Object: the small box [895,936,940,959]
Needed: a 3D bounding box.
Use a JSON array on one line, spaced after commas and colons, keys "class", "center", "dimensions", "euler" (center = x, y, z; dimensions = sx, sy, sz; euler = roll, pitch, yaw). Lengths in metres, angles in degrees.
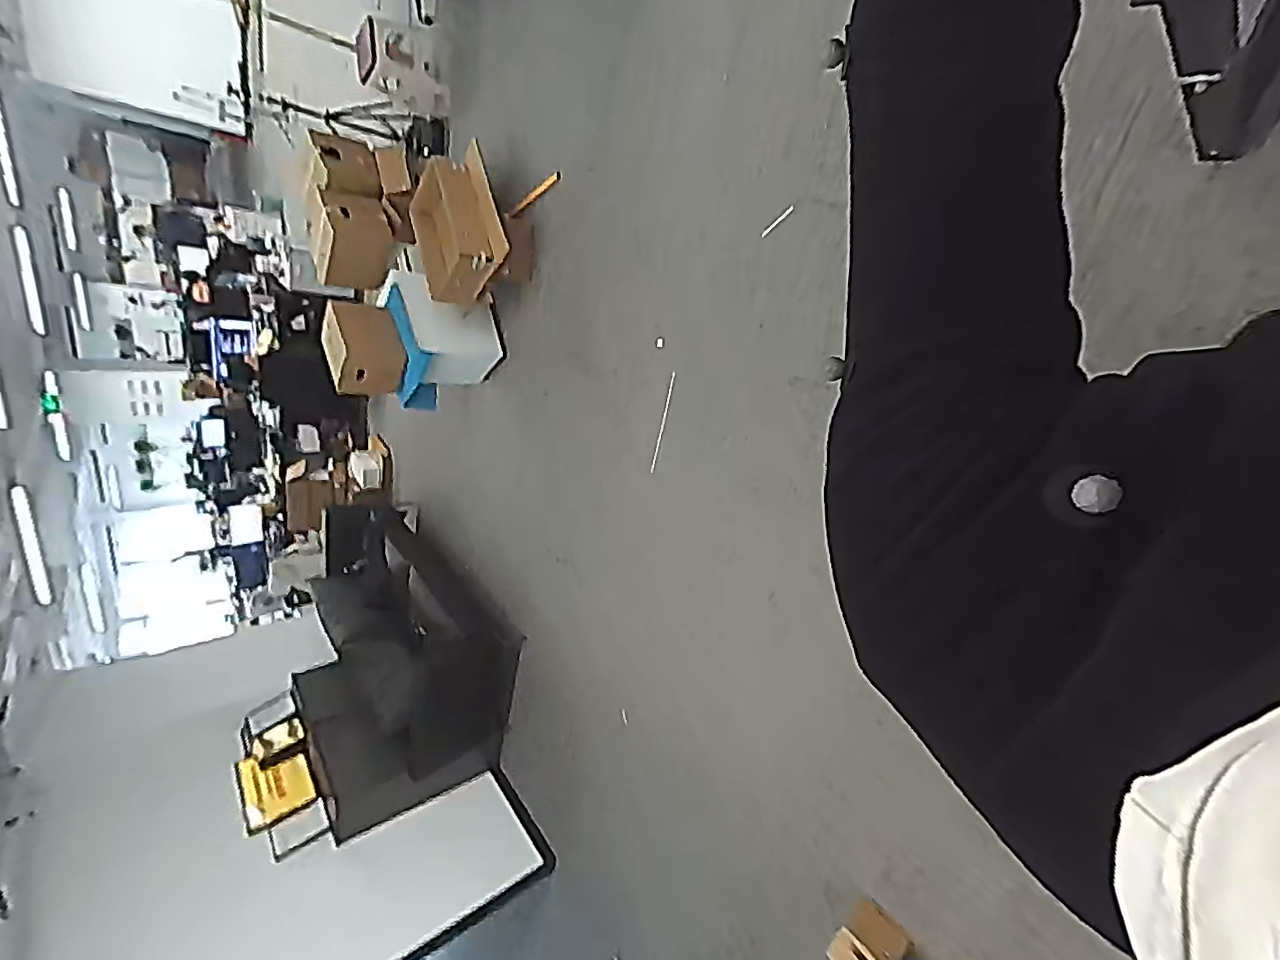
[{"class": "small box", "center": [0.874, 1.598, 1.695], "dimensions": [0.168, 0.176, 0.179], "euler": [33, 120, 40]}]
